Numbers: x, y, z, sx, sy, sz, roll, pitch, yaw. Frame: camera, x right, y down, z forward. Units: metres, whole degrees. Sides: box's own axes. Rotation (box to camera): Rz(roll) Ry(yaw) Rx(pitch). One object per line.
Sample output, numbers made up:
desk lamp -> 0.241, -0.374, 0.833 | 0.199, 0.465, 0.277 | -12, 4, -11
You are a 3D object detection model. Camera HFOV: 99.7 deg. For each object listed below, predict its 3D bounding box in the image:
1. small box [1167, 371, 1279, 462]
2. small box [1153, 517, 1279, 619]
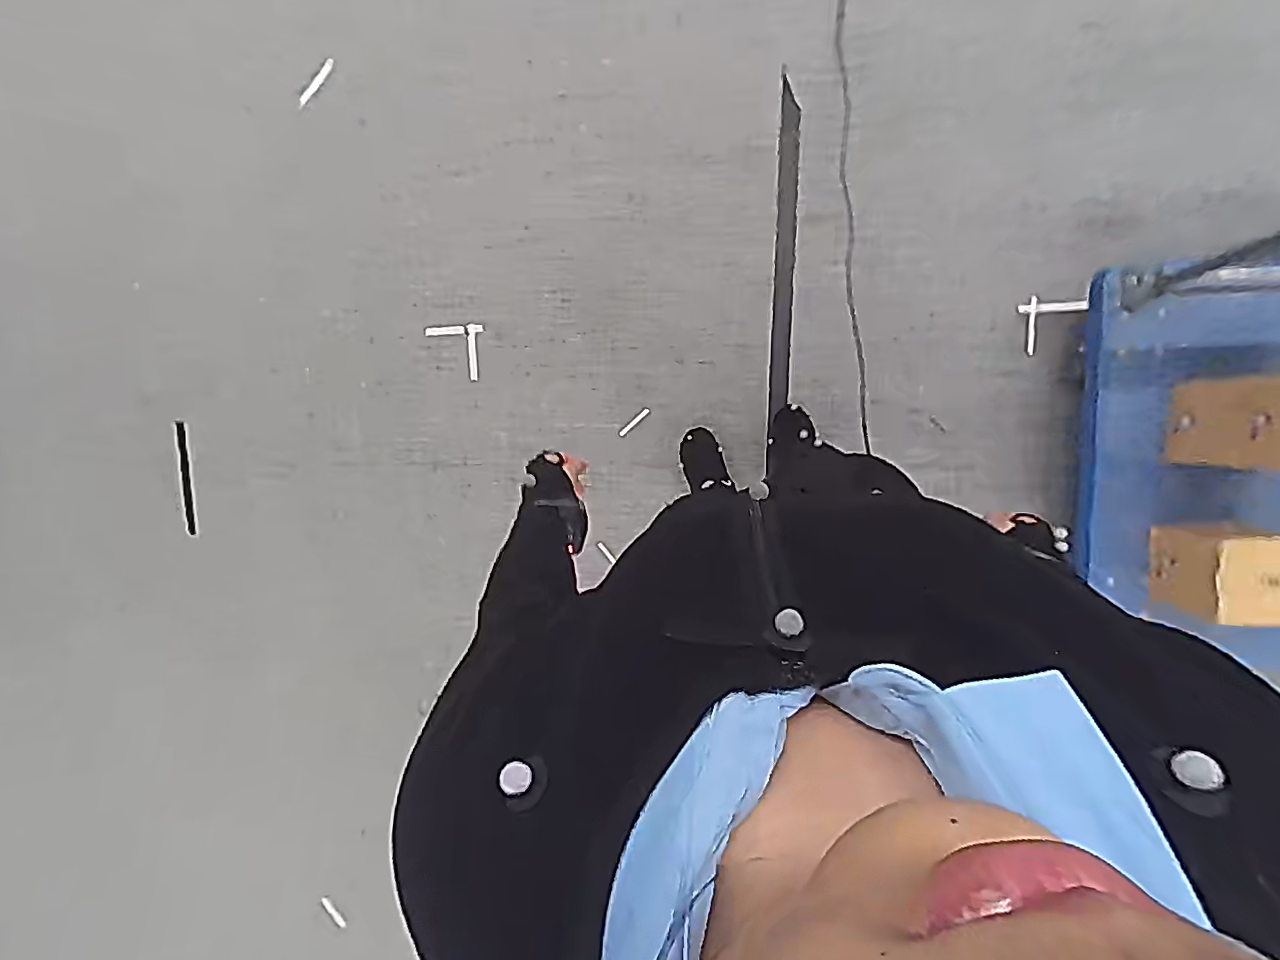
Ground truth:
small box -> 1.204, -0.121, 1.056 | 0.179, 0.176, 0.168 | 3, 96, 8
small box -> 1.199, 0.172, 1.089 | 0.179, 0.176, 0.168 | -4, 95, 9
